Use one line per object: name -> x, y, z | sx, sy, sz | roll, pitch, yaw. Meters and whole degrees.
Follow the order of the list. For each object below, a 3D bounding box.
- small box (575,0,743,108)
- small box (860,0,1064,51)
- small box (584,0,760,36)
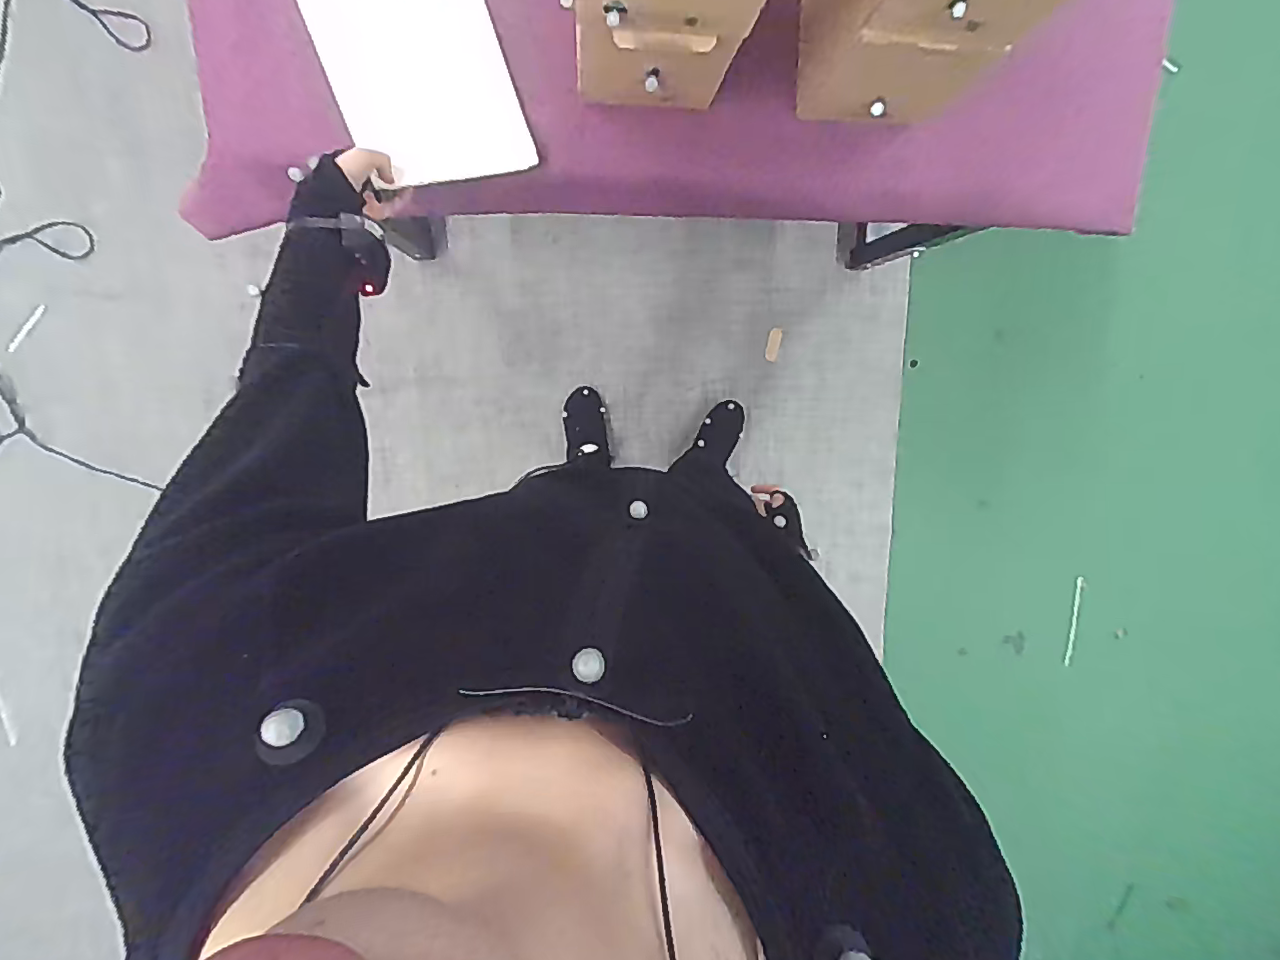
small box -> 0.014, -0.534, 0.582 | 0.168, 0.176, 0.179 | -1, 102, -7
small box -> 0.303, -0.510, 0.451 | 0.168, 0.176, 0.179 | -1, 101, -6
small box -> 0.032, -0.495, 0.423 | 0.168, 0.176, 0.179 | -1, 101, -6
